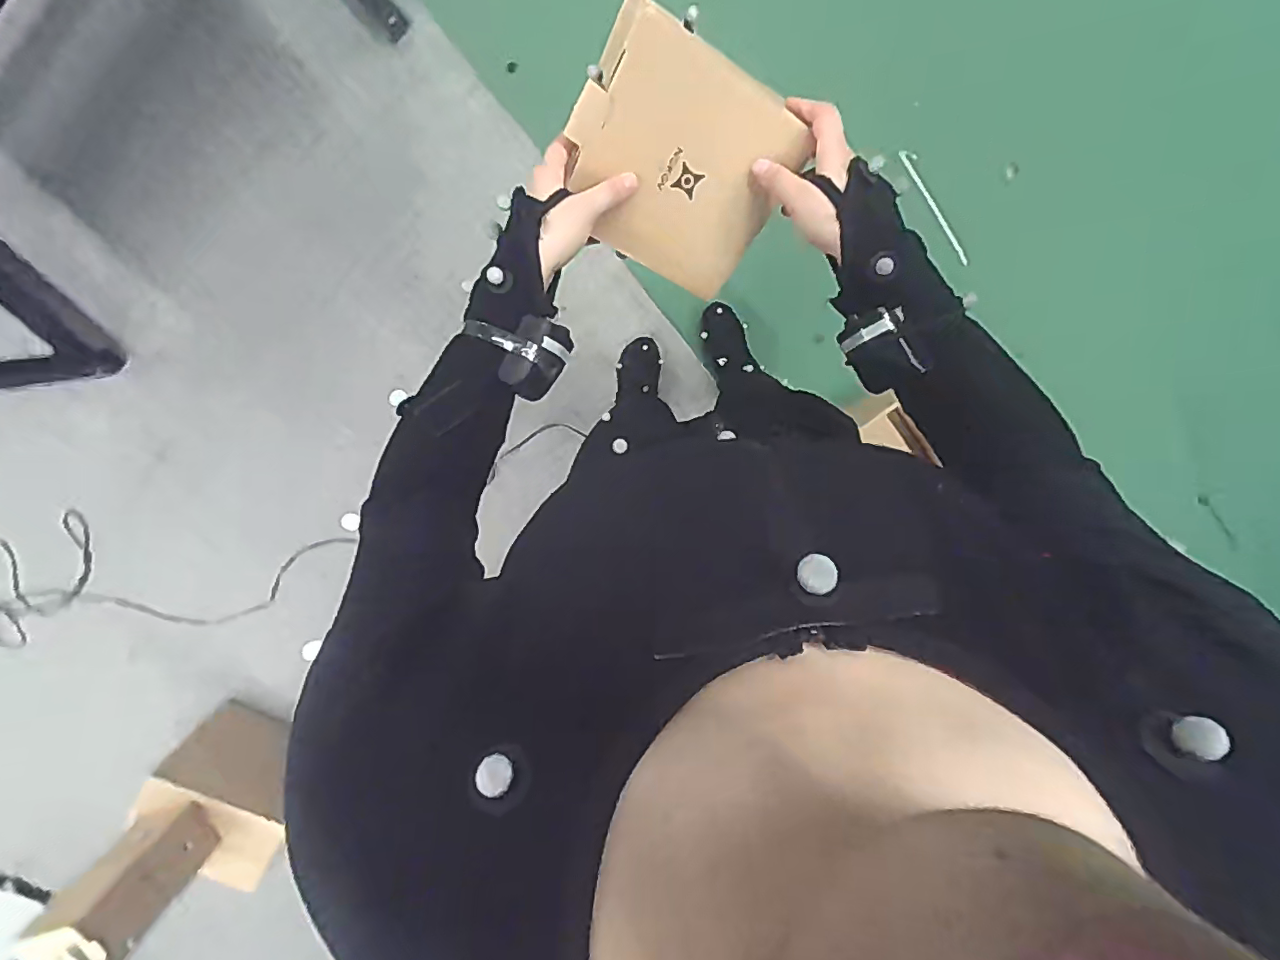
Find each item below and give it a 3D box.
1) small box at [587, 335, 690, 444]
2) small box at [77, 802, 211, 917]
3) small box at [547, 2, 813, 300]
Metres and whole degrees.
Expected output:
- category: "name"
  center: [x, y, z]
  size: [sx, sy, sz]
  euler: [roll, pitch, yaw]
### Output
- category: "small box"
  center: [0.005, -0.224, 1.338]
  size: [0.179, 0.168, 0.176]
  euler: [-40, 134, -11]
- category: "small box"
  center: [-1.297, 0.999, 1.437]
  size: [0.179, 0.176, 0.168]
  euler: [-18, 107, 3]
- category: "small box"
  center: [0.027, -0.313, 0.517]
  size: [0.179, 0.176, 0.168]
  euler: [20, 130, -22]
